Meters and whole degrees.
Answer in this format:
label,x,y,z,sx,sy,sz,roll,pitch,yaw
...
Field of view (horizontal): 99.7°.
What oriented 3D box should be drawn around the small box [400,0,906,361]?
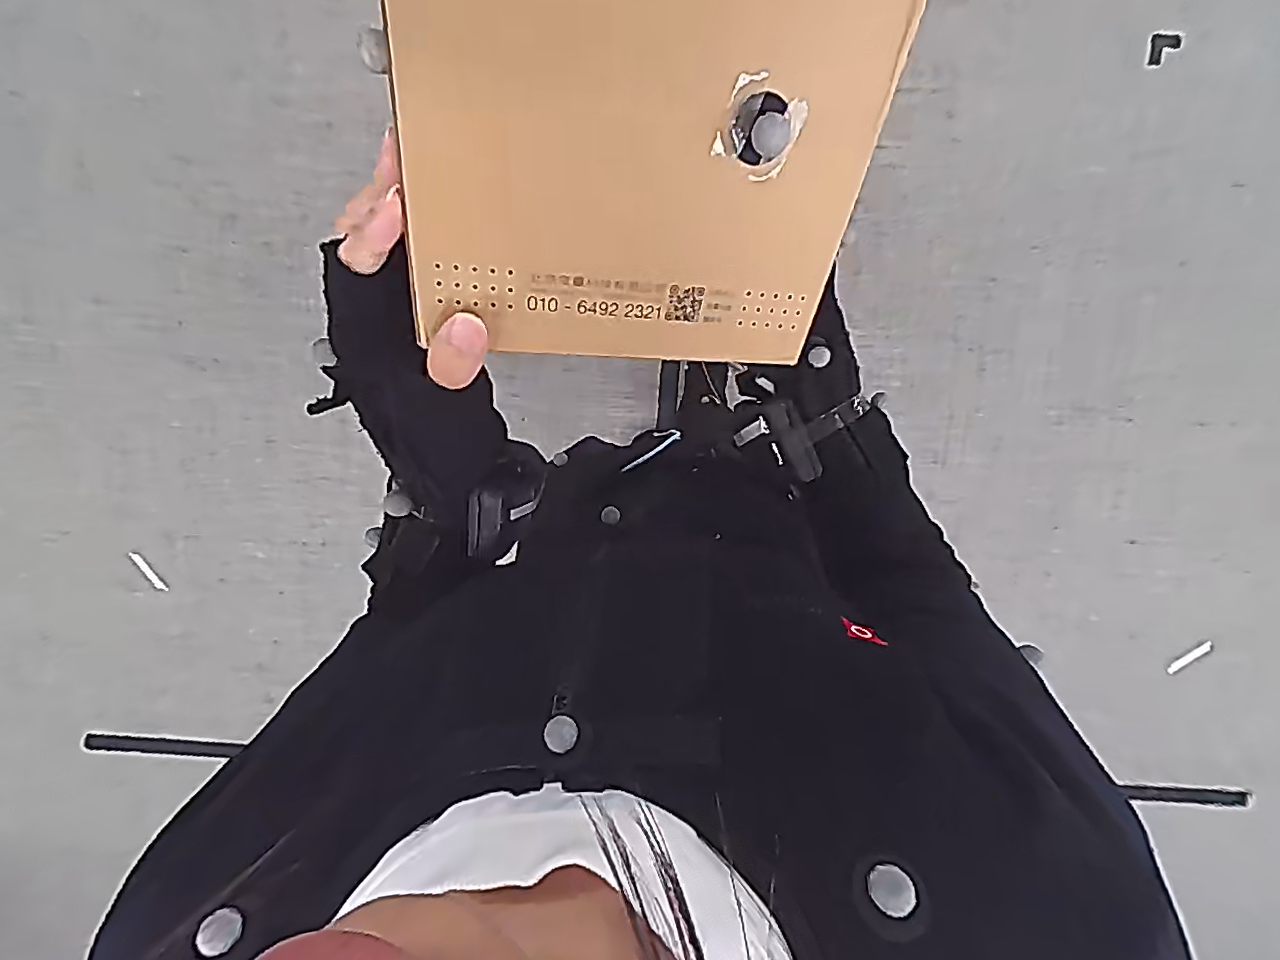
label,x,y,z,sx,sy,sz,roll,pitch,yaw
small box,-0.008,-0.168,0.250,0.168,0.179,0.176,0,129,-14
